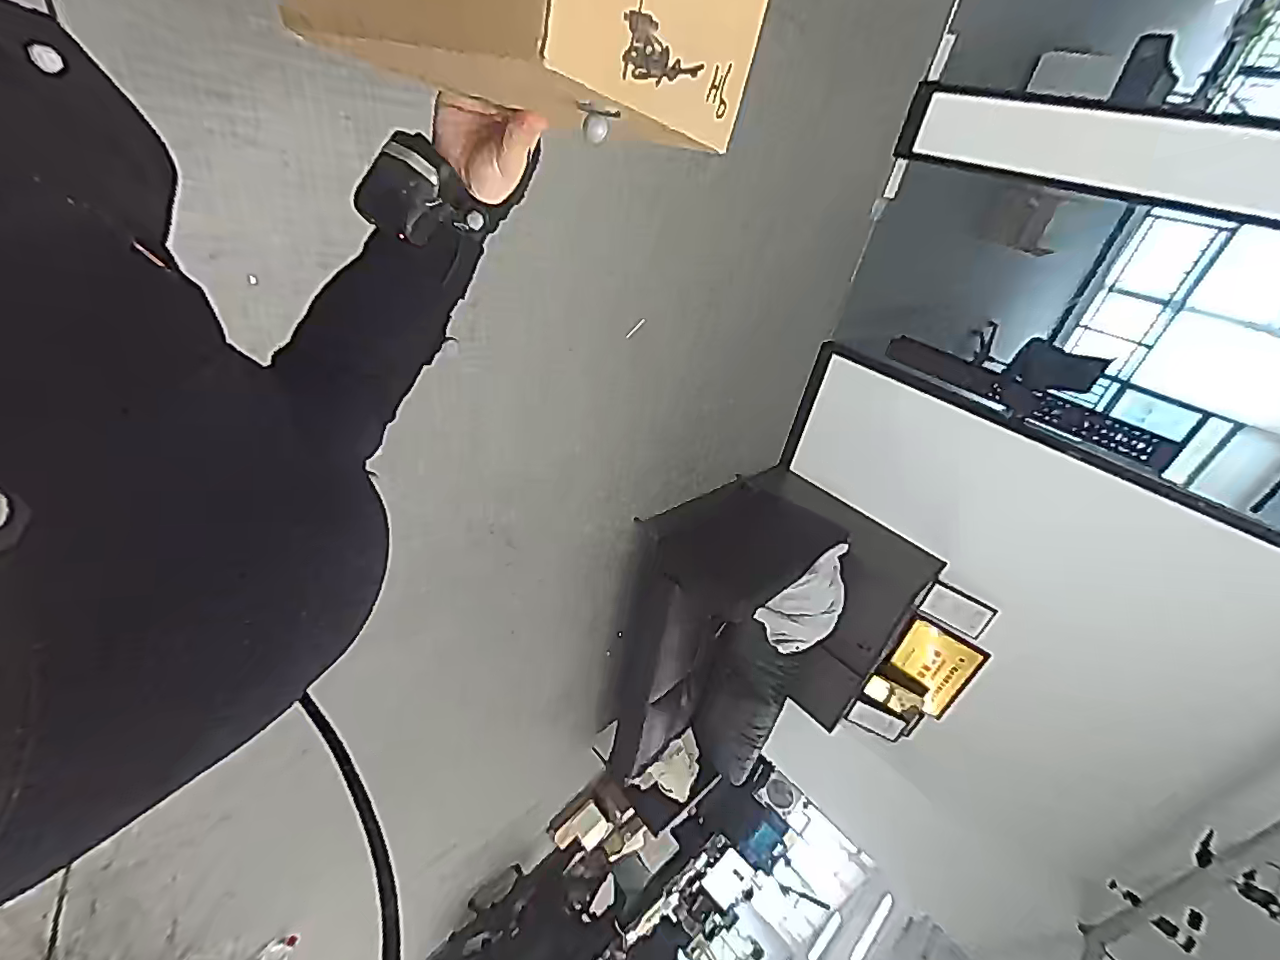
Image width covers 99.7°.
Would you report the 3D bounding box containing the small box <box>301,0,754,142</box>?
[{"bbox_3d":[-0.046,-0.286,0.254,0.168,0.176,0.179,-29,139,-52],"label":"small box"}]
